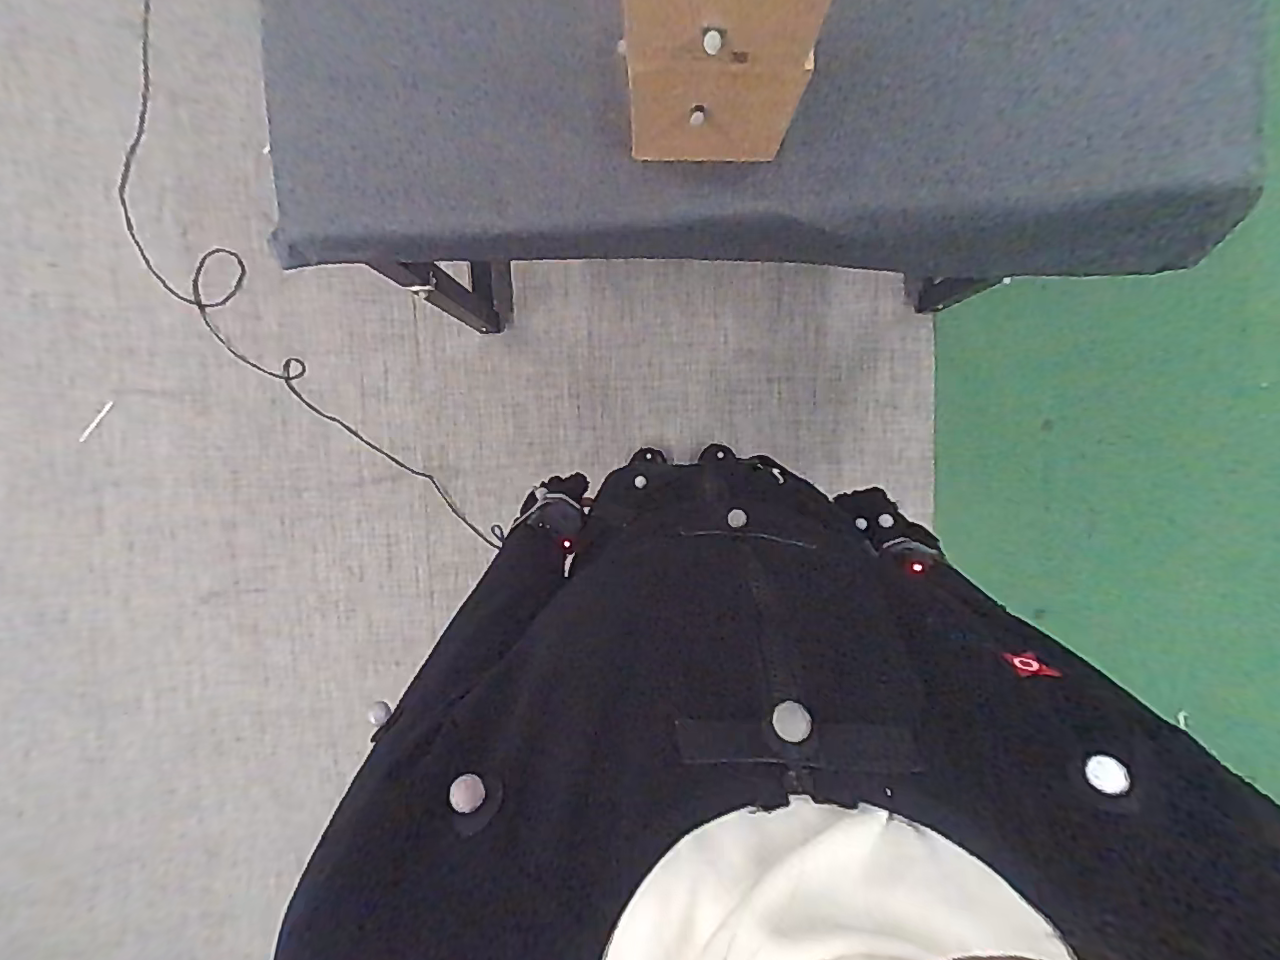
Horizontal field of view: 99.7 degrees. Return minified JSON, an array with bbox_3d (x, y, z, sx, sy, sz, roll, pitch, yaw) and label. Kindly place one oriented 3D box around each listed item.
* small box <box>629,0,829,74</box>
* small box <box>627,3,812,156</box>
[{"bbox_3d":[0.076,-0.467,0.419,0.168,0.176,0.179,5,95,1],"label":"small box"},{"bbox_3d":[0.080,-0.476,0.584,0.179,0.176,0.168,2,94,1],"label":"small box"}]
